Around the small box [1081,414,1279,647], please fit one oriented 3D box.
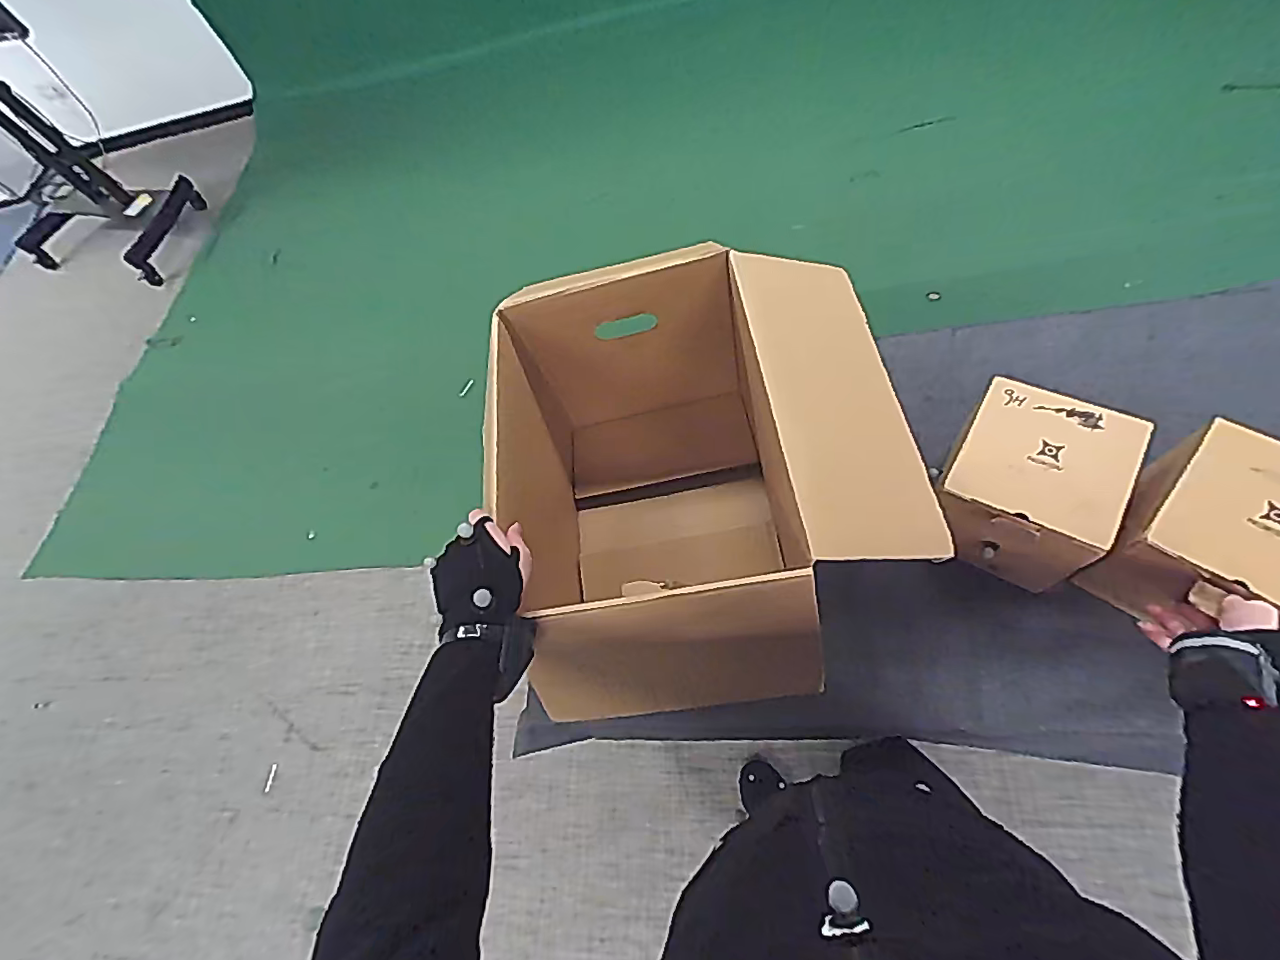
[{"bbox_3d":[0.649,0.065,0.608,0.168,0.176,0.179,34,78,25],"label":"small box"}]
